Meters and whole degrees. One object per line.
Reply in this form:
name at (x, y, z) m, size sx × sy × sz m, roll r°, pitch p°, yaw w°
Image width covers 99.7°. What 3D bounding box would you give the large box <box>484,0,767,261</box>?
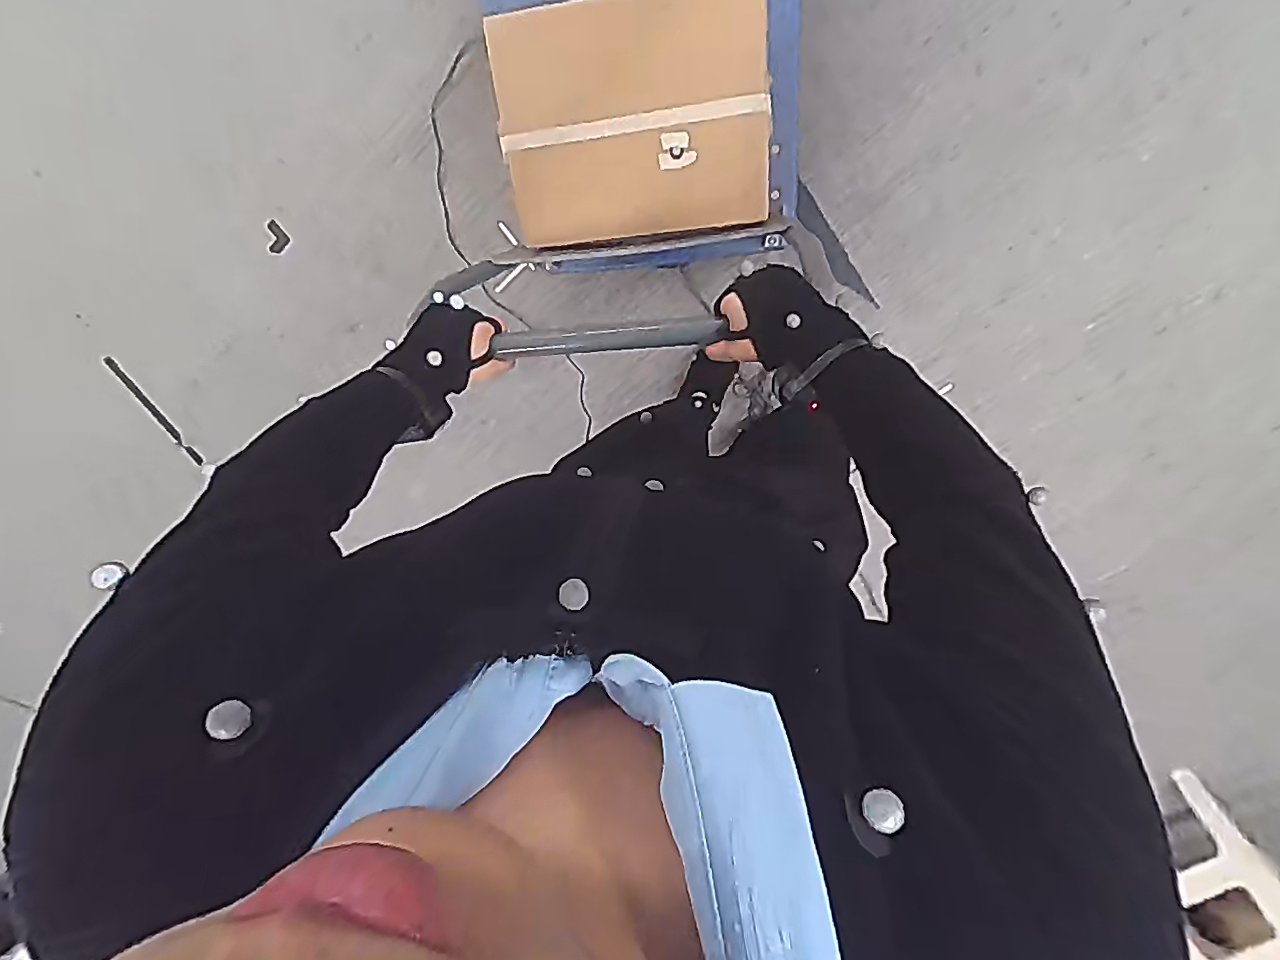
large box at (0.000, -0.583, 0.950) m, size 0.408 × 0.320 × 0.320 m, roll -3°, pitch 116°, yaw 9°
